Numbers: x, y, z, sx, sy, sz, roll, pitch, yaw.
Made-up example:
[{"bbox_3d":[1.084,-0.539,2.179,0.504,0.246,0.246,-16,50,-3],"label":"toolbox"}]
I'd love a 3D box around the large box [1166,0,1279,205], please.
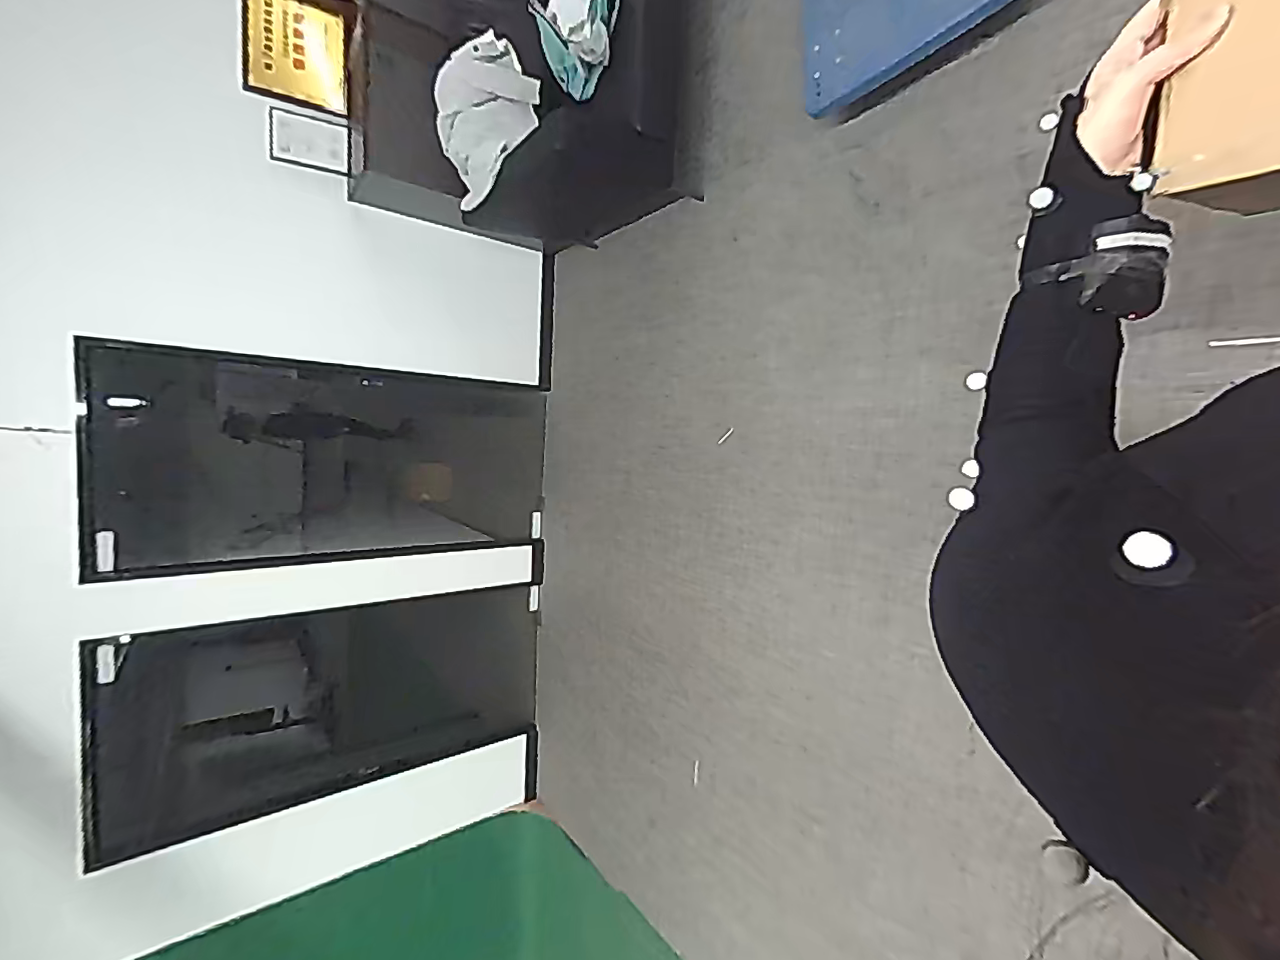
[{"bbox_3d":[0.618,-0.376,0.295,0.408,0.320,0.320,13,112,56],"label":"large box"}]
